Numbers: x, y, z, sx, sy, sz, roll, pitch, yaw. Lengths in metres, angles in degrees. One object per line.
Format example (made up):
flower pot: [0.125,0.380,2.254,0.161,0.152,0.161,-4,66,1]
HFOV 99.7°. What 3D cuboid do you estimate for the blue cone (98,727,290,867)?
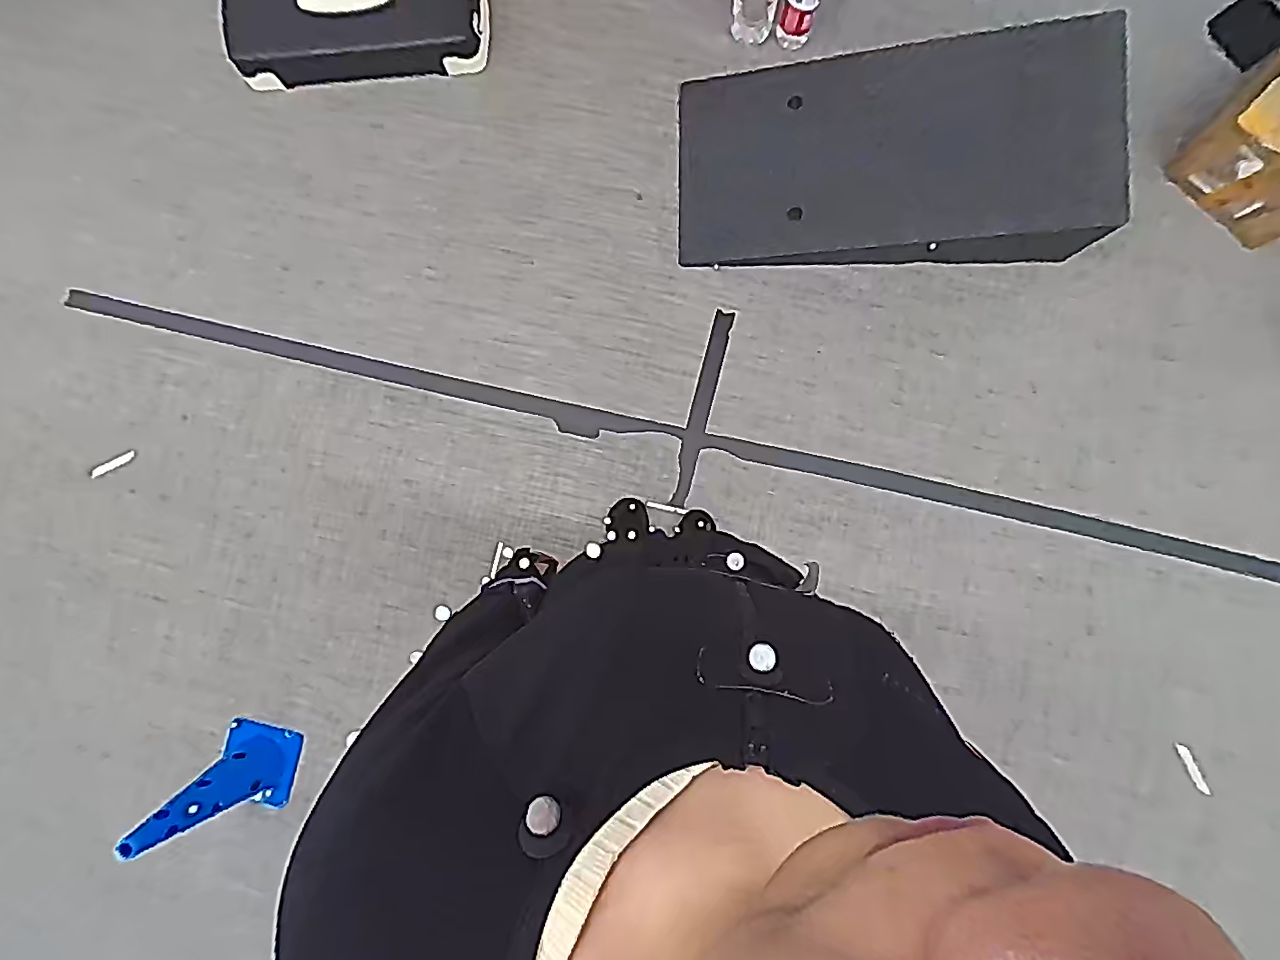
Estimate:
blue cone: [-1.016,0.743,1.233,0.192,0.380,0.193,15,89,4]
